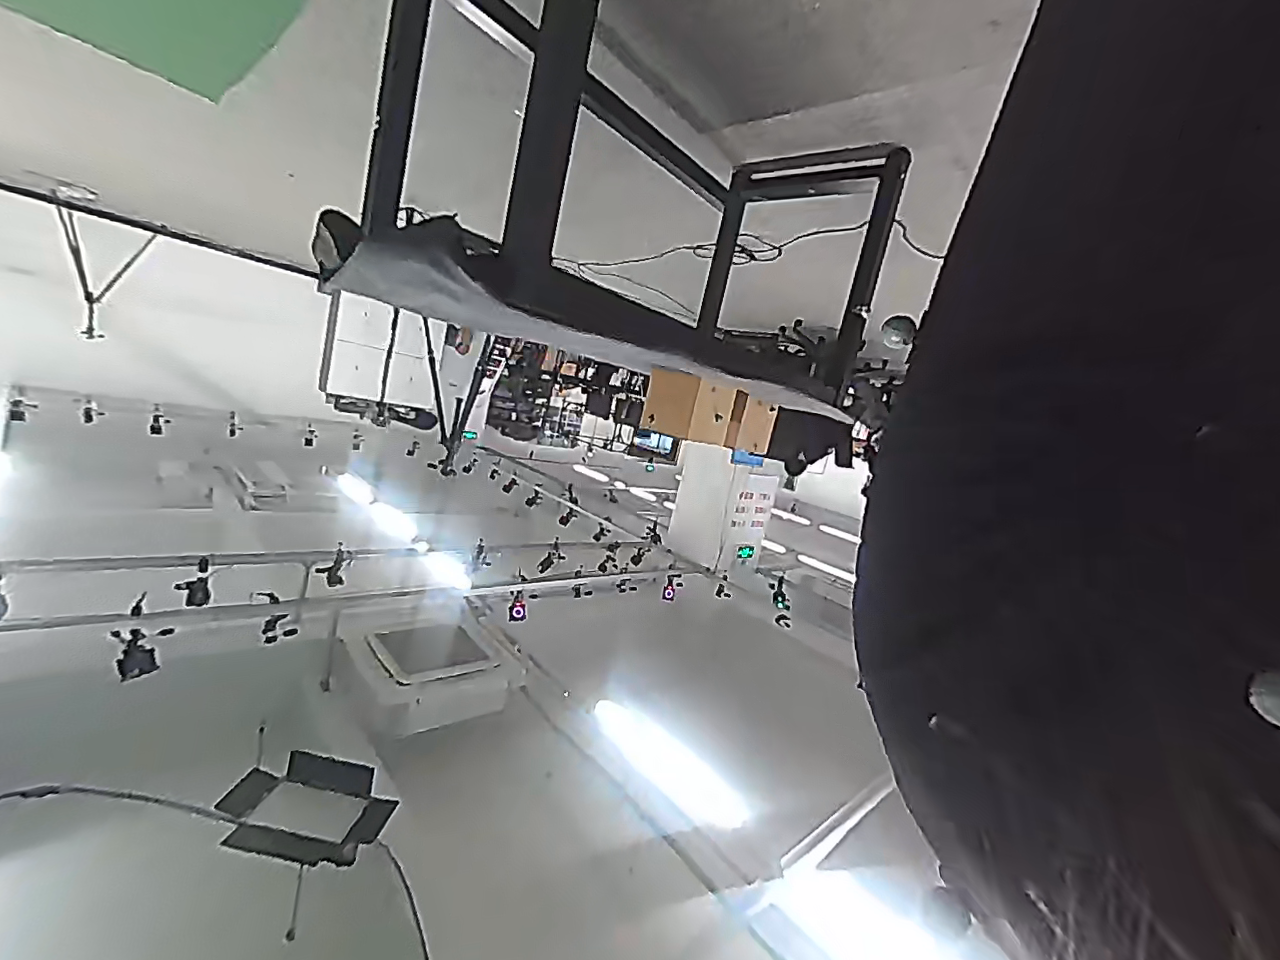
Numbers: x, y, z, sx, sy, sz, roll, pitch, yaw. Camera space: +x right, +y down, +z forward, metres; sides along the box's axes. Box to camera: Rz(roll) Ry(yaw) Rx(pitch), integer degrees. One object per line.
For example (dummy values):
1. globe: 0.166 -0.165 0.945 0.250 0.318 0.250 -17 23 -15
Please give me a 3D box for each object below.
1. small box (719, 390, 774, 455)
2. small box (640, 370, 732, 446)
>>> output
1. small box: 0.285 -0.183 1.634 0.168 0.176 0.179 6 -168 -44
2. small box: 0.129 -0.196 1.456 0.179 0.176 0.168 21 -168 42
